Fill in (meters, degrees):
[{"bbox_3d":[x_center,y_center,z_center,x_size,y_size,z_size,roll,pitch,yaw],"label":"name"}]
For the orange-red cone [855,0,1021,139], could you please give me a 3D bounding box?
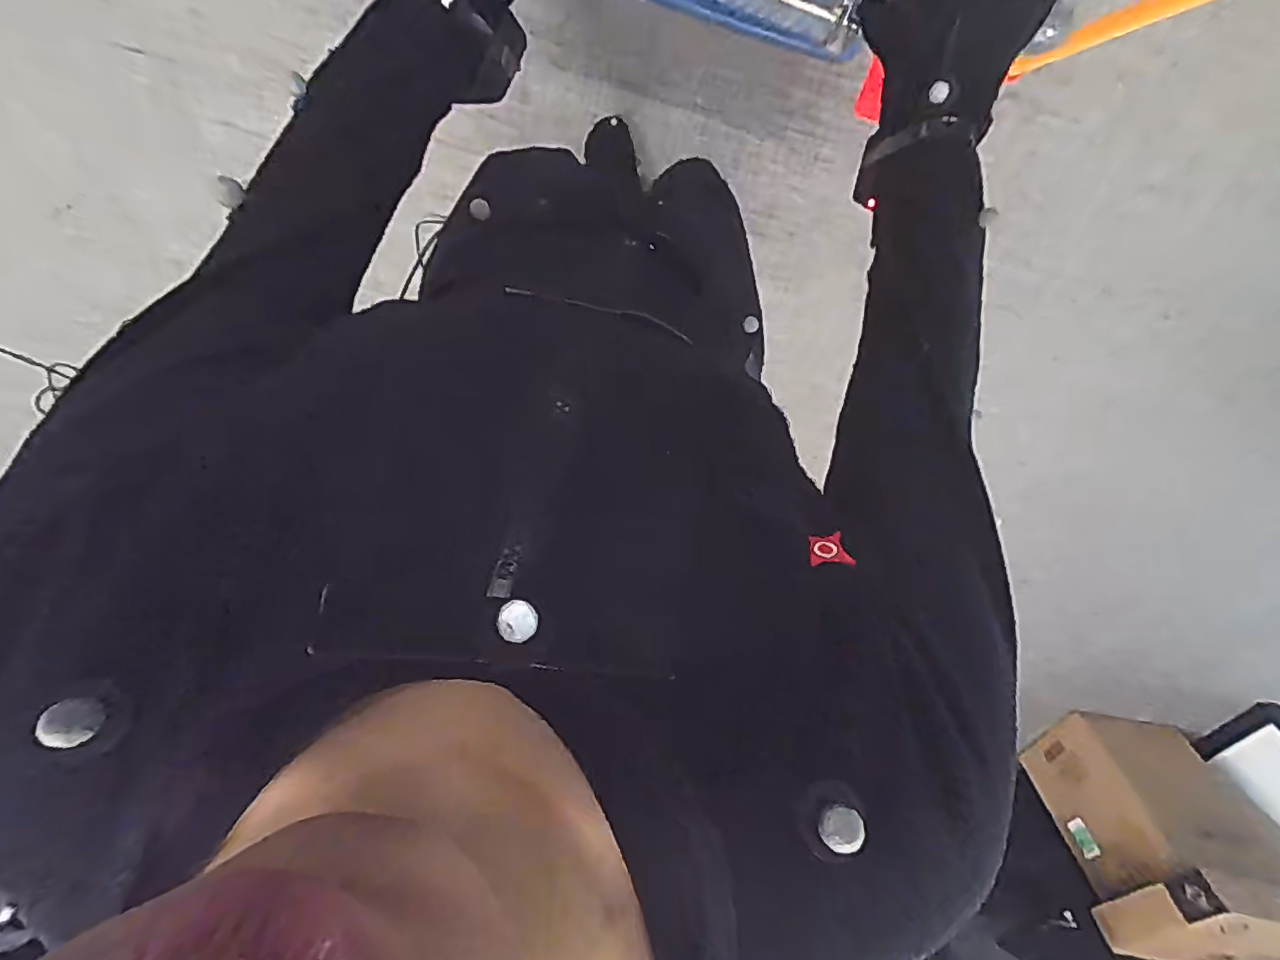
[{"bbox_3d":[0.553,-0.723,0.950,0.199,0.360,0.198,14,124,-7],"label":"orange-red cone"}]
